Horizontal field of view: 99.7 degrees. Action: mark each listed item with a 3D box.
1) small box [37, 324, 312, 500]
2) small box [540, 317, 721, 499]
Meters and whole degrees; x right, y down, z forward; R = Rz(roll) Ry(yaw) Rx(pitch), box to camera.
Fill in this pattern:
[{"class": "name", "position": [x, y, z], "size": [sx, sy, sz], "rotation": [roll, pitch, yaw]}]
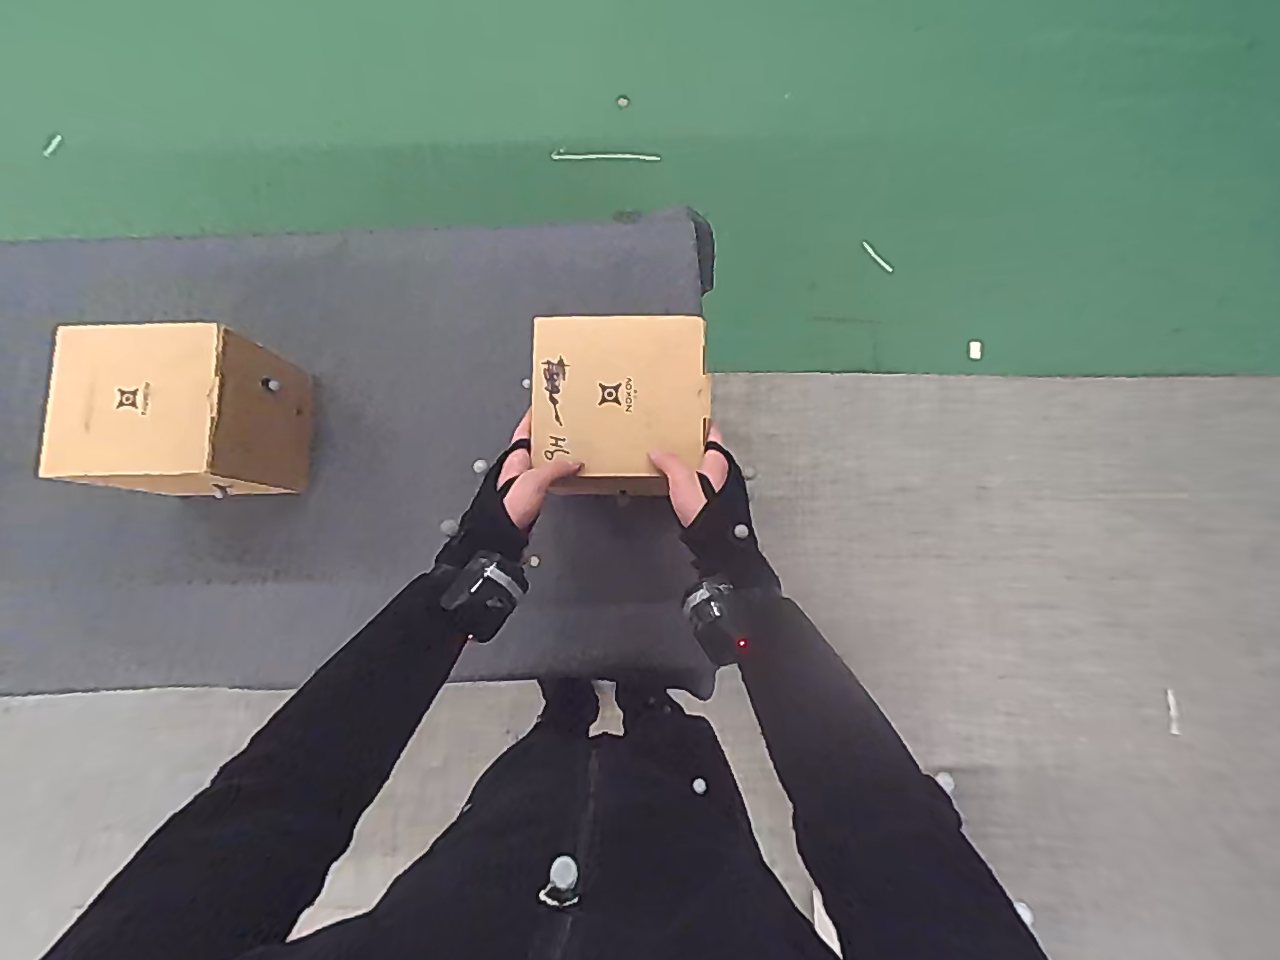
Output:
[{"class": "small box", "position": [-0.516, -0.069, 0.629], "size": [0.179, 0.176, 0.168], "rotation": [-2, 81, 0]}, {"class": "small box", "position": [-0.010, -0.069, 0.607], "size": [0.179, 0.176, 0.168], "rotation": [1, 83, -1]}]
